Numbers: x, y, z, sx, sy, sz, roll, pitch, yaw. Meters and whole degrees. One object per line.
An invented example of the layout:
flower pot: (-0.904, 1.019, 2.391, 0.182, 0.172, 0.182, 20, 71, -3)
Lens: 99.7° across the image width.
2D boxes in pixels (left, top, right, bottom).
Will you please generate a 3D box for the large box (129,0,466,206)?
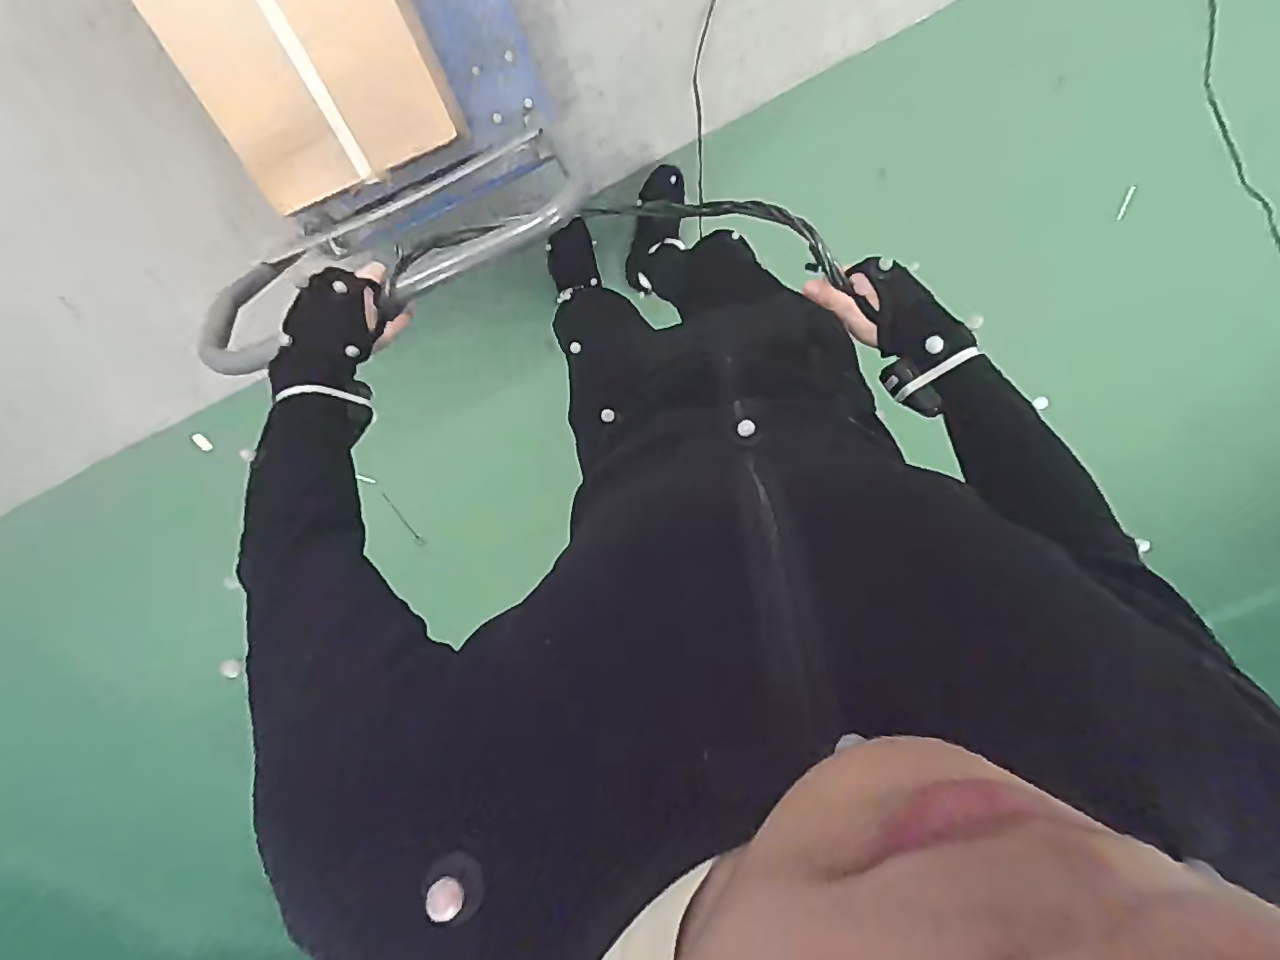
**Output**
large box: (-0.522, -0.709, 0.847, 0.320, 0.320, 0.408, -23, 124, 2)
